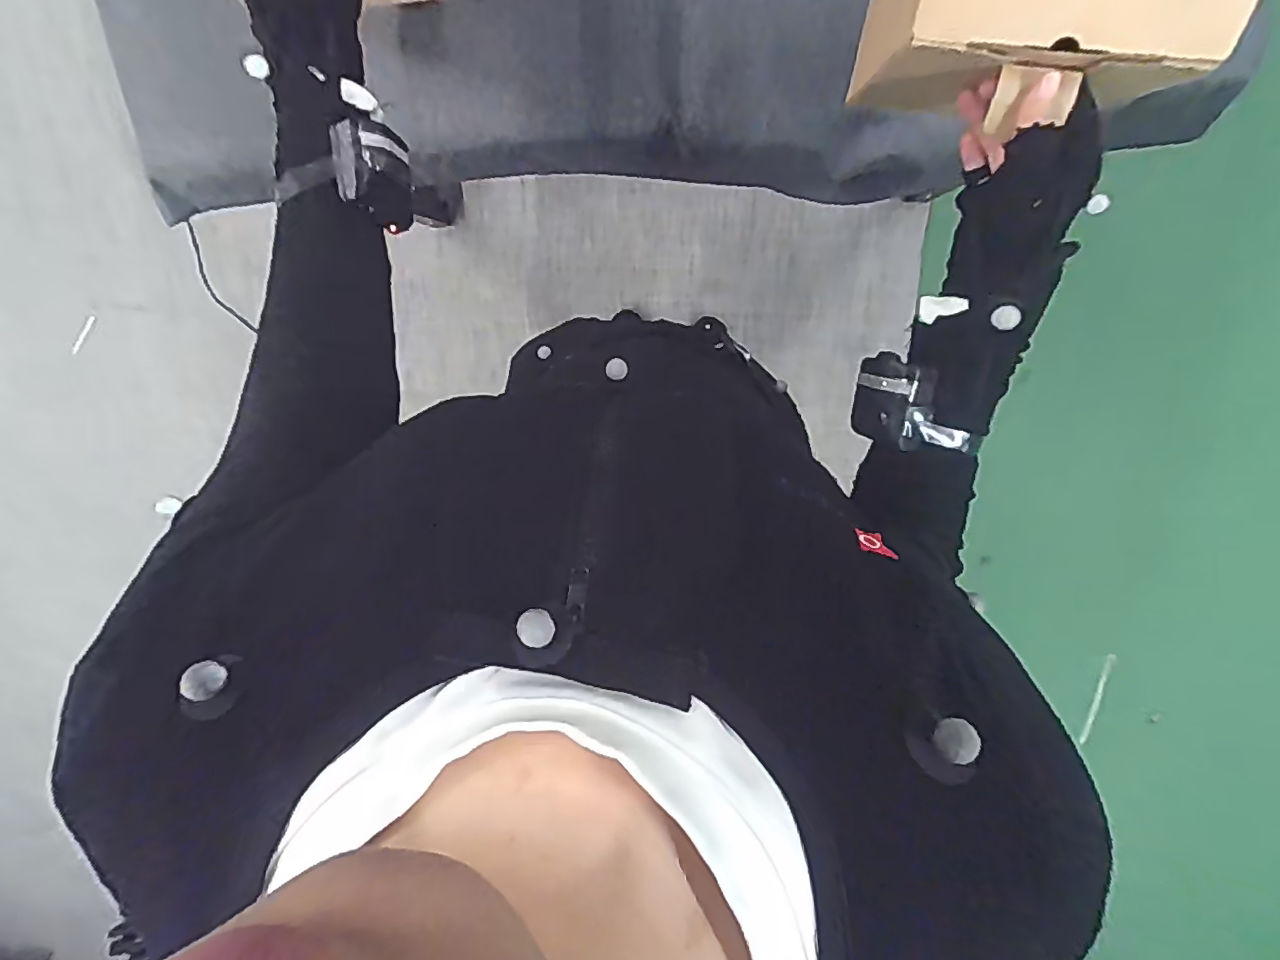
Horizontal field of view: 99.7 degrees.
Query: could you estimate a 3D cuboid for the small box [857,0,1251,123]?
[{"bbox_3d":[0.249,-0.338,0.332,0.168,0.176,0.179,9,116,4],"label":"small box"}]
